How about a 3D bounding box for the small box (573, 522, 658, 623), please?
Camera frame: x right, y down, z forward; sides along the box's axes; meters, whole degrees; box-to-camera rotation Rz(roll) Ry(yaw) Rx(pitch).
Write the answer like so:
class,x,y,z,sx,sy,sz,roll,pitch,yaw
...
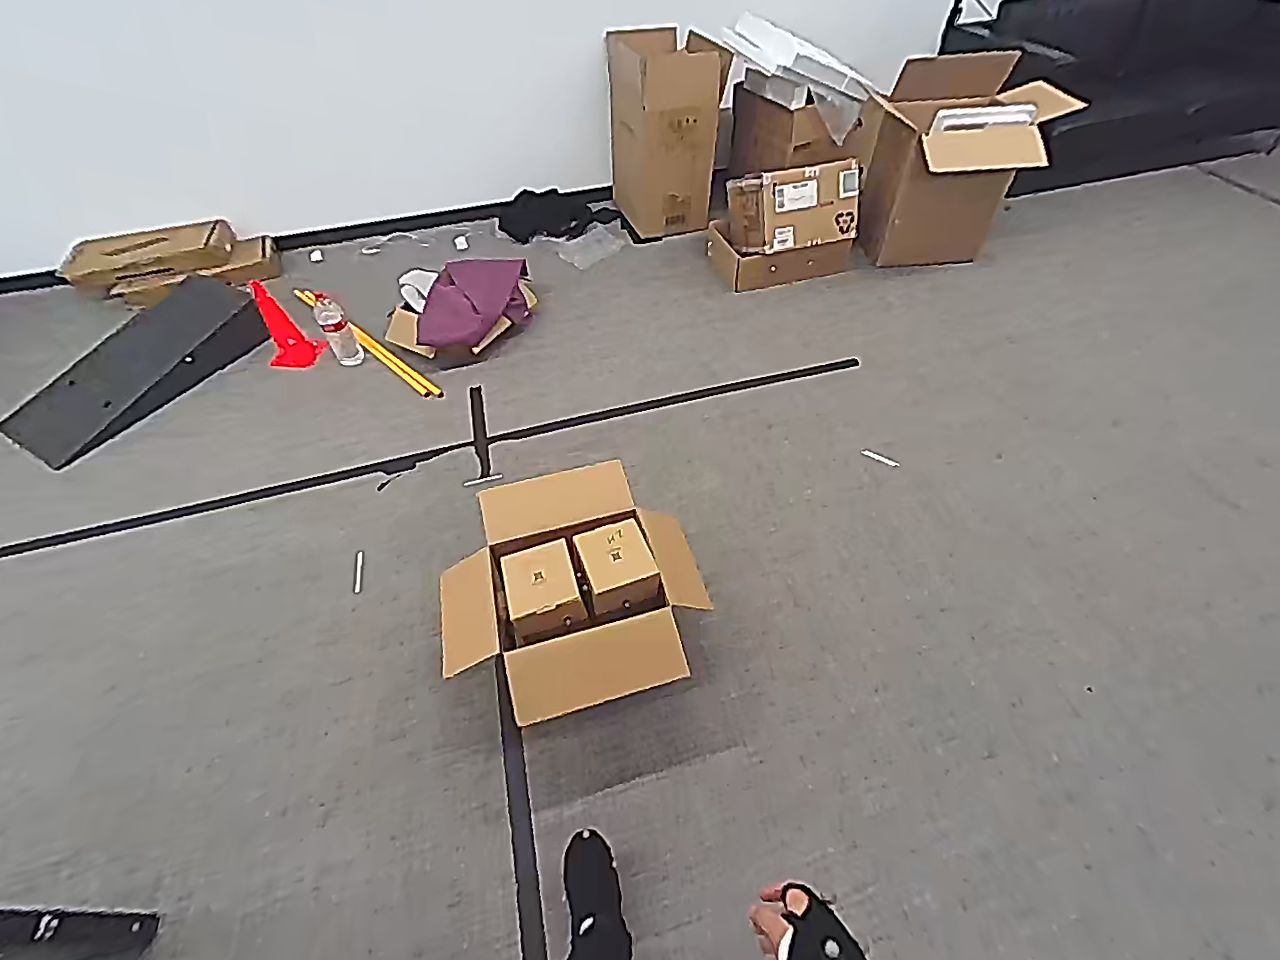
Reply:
class,x,y,z,sx,sy,sz,roll,pitch,yaw
small box,-0.064,0.241,1.373,0.168,0.176,0.179,-16,51,-16
